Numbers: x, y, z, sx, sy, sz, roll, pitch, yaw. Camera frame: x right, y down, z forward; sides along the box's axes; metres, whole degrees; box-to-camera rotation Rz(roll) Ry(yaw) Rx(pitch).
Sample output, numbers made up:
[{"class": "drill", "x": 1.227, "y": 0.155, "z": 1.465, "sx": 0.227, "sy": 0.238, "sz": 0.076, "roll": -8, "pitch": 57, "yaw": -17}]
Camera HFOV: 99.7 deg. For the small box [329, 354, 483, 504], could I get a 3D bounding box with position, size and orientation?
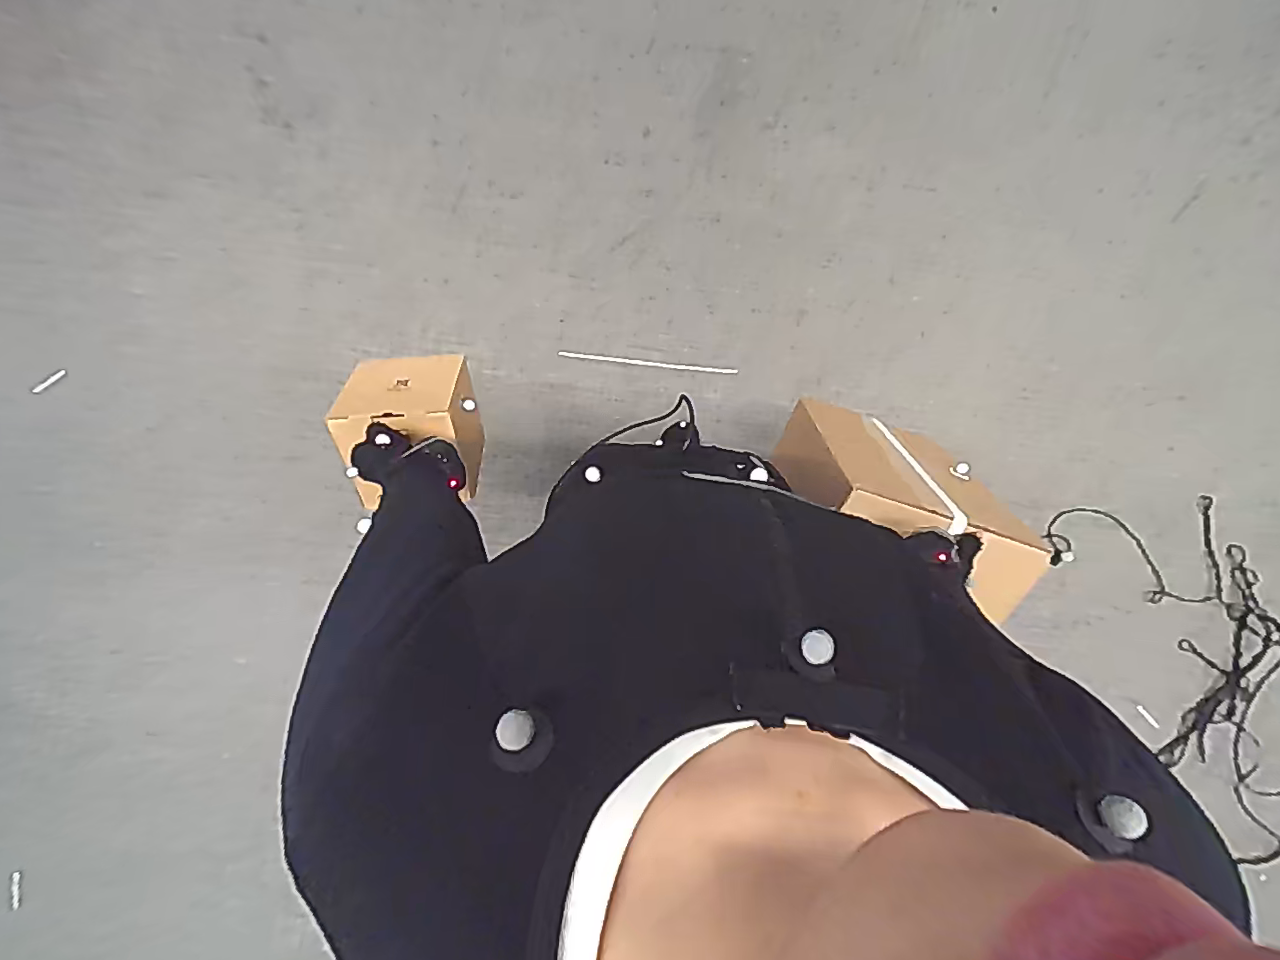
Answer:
[{"class": "small box", "x": -0.354, "y": -0.083, "z": 0.860, "sx": 0.168, "sy": 0.179, "sz": 0.176, "roll": -5, "pitch": 130, "yaw": -4}]
